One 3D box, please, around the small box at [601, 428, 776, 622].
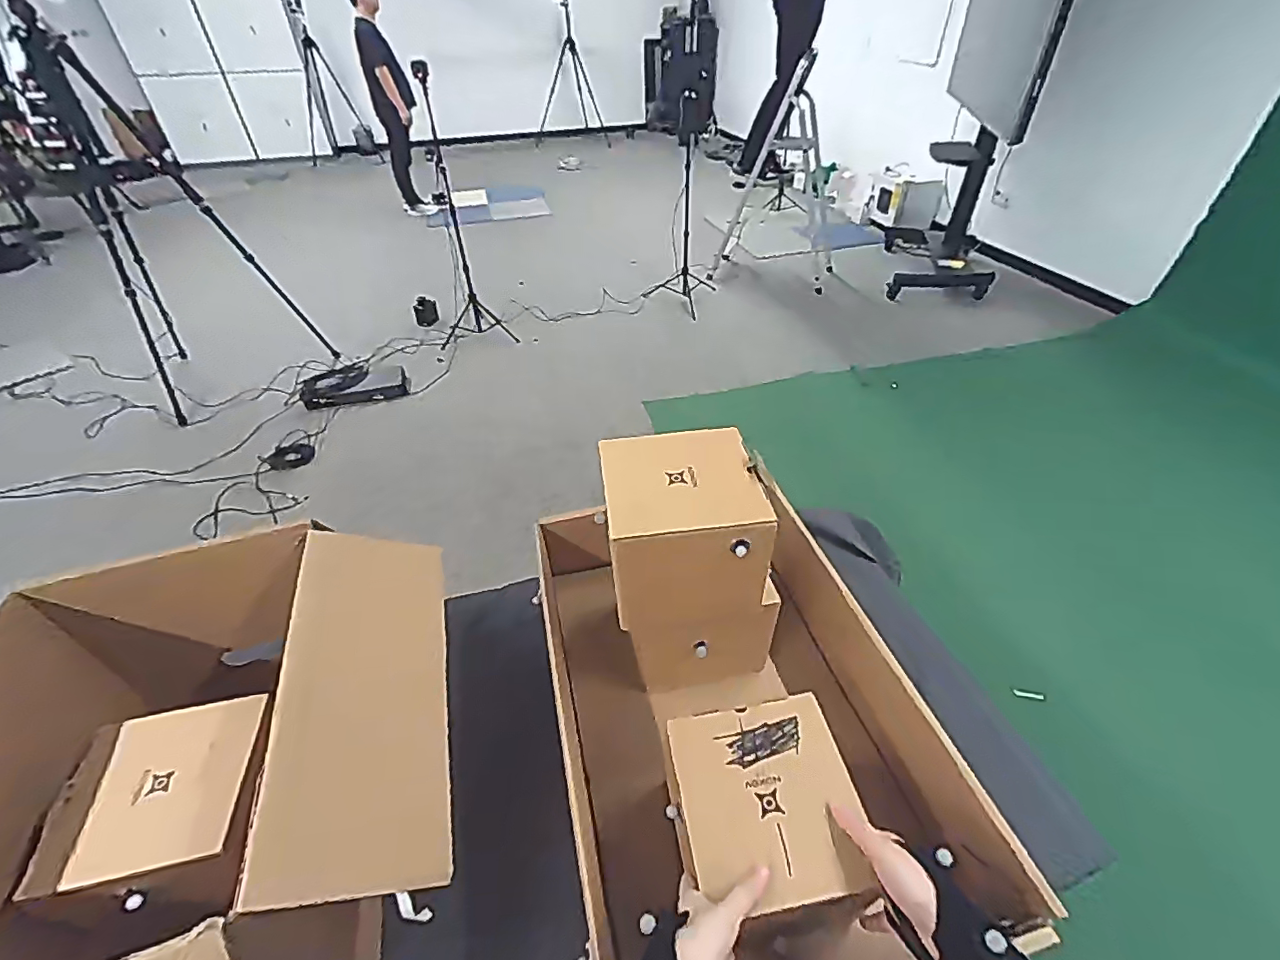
[{"bbox_3d":[0.050,0.058,0.665,0.179,0.176,0.168,-6,43,-5],"label":"small box"}]
